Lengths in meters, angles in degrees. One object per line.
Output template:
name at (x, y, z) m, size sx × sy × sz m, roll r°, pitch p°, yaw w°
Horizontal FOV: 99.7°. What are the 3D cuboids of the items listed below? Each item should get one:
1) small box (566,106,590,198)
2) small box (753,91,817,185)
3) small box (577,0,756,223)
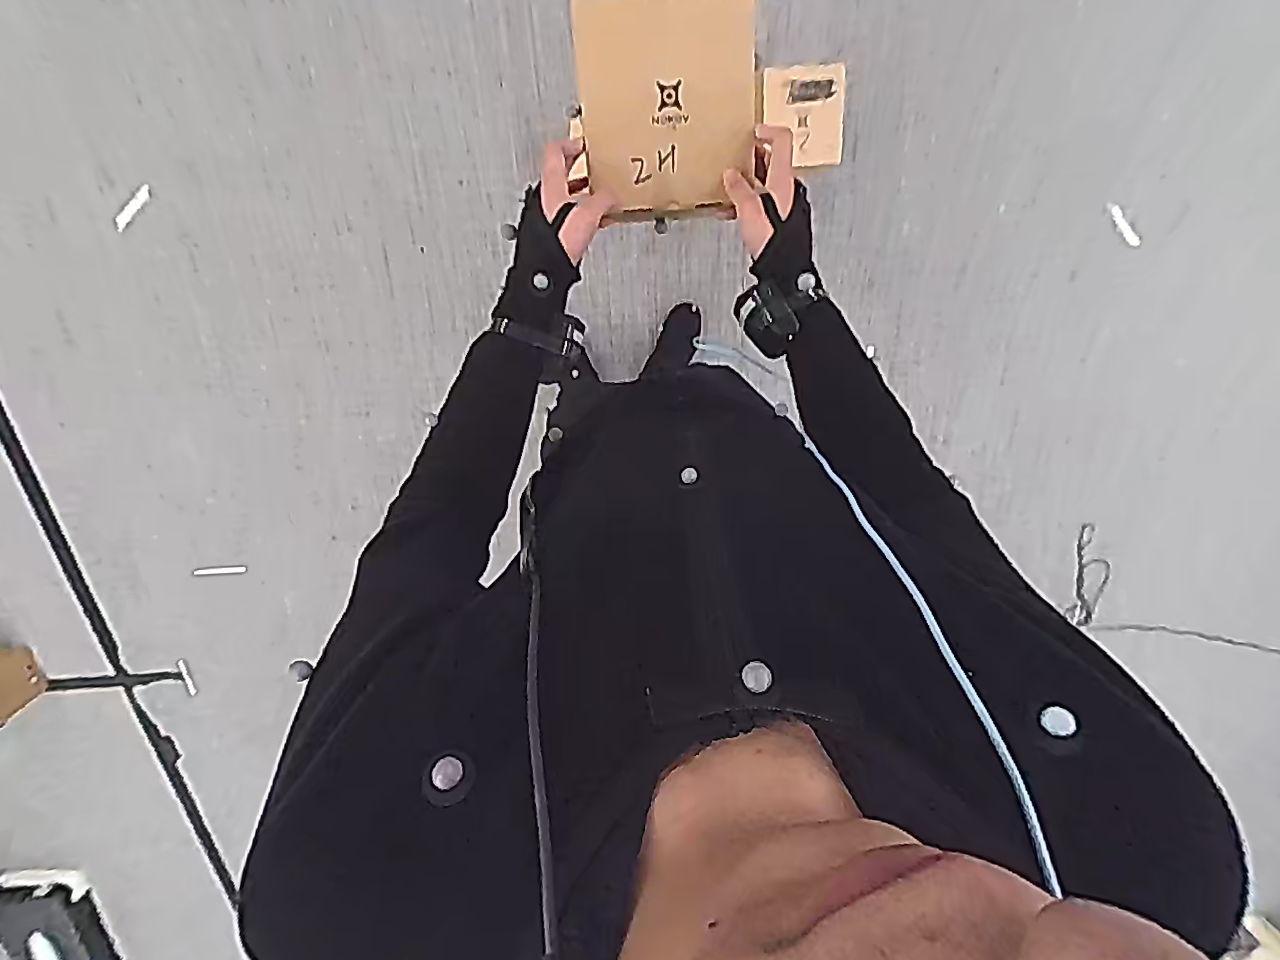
small box at (-0.082, -0.772, 1.298) m, size 0.179 × 0.176 × 0.168 m, roll 4°, pitch 111°, yaw -5°
small box at (0.311, -0.819, 1.310) m, size 0.179 × 0.176 × 0.168 m, roll -5°, pitch 112°, yaw -3°
small box at (0.022, -0.384, 0.585) m, size 0.168 × 0.176 × 0.179 m, roll -5°, pitch 113°, yaw -2°
